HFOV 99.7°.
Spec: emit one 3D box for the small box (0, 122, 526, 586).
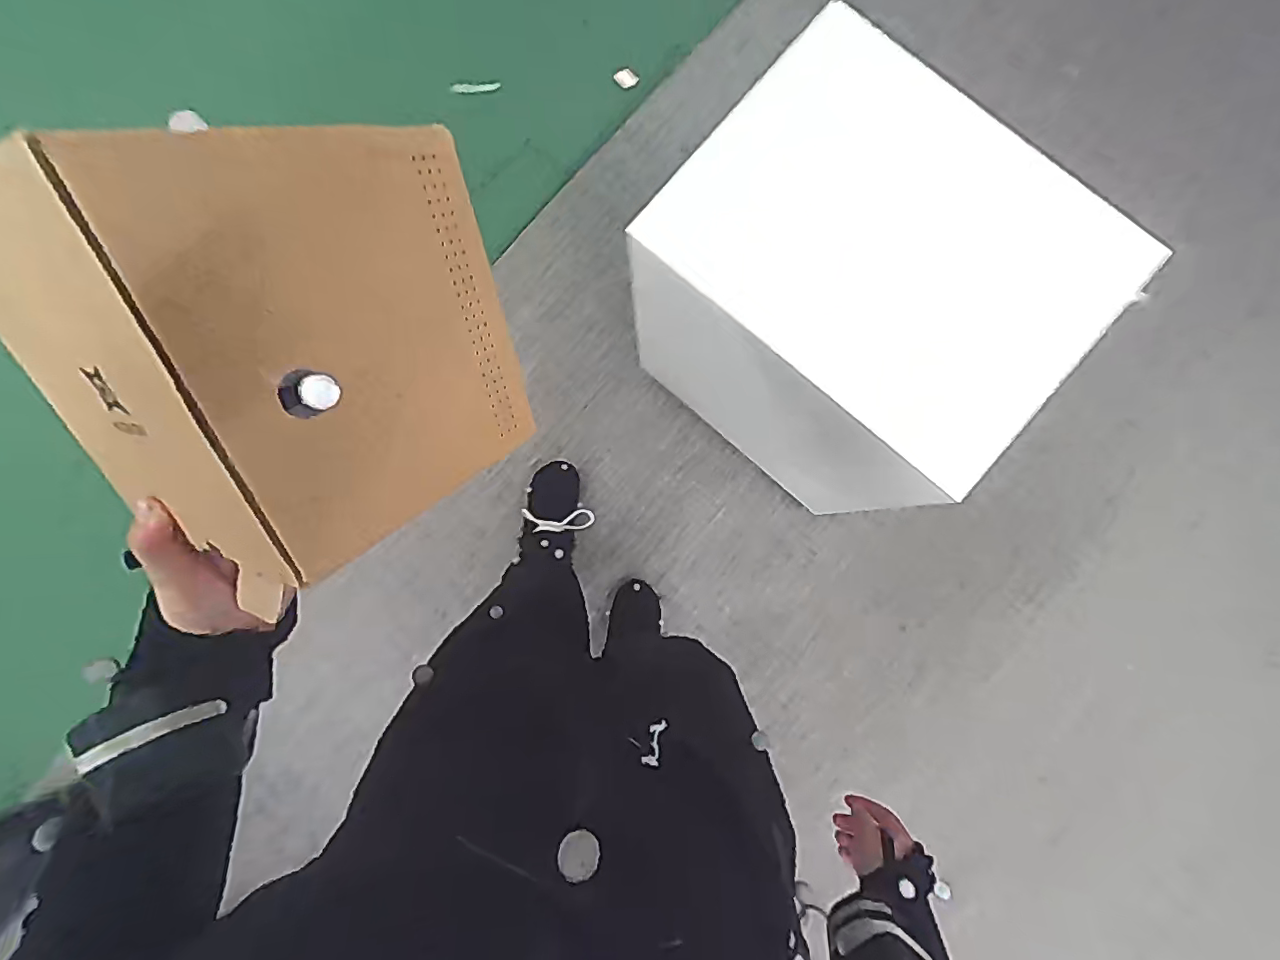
[{"bbox_3d":[-0.191,-0.075,0.292,0.168,0.176,0.179,6,124,29],"label":"small box"}]
